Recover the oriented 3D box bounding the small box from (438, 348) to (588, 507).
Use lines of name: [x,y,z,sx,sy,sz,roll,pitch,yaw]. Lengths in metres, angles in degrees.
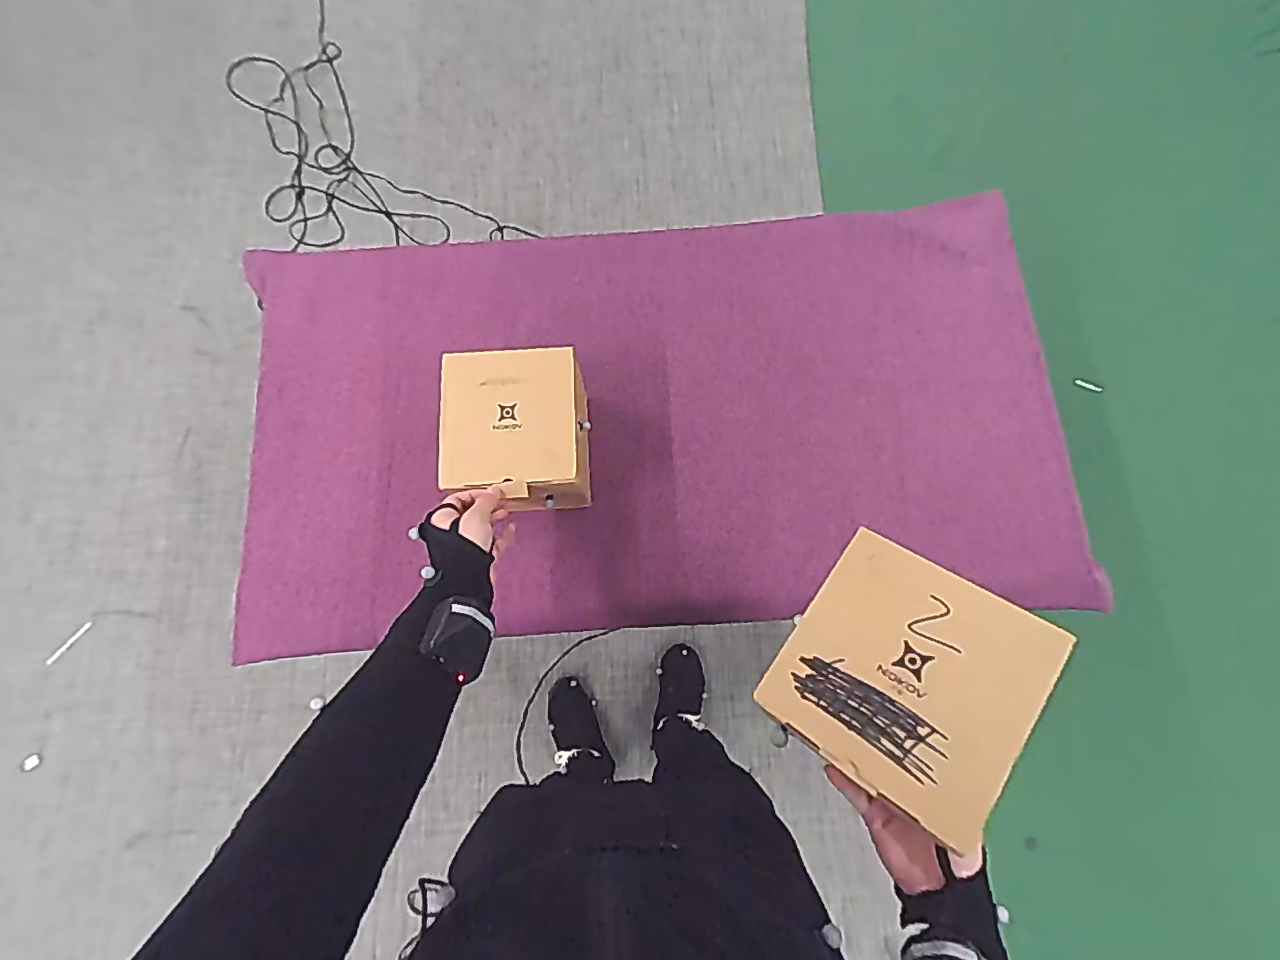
small box: [-0.160,-0.060,0.738,0.168,0.176,0.179,-2,76,0]
